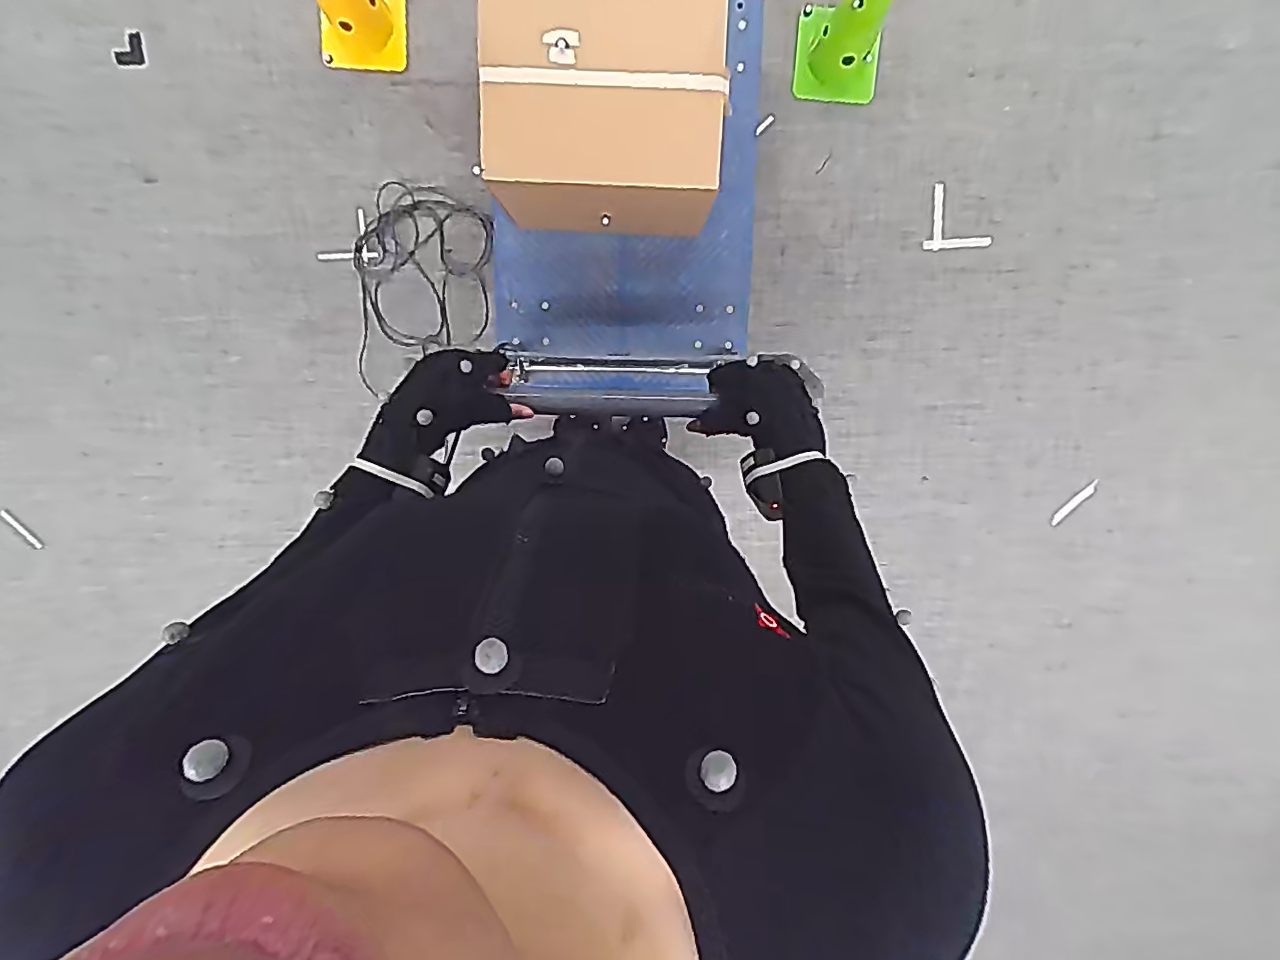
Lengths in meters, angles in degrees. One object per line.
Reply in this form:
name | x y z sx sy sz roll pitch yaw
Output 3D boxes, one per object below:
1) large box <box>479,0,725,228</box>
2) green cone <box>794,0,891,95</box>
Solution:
large box | -0.062 -0.686 1.034 0.408 0.320 0.320 2 100 0
green cone | 0.480 -1.012 1.129 0.202 0.368 0.200 3 100 -3
